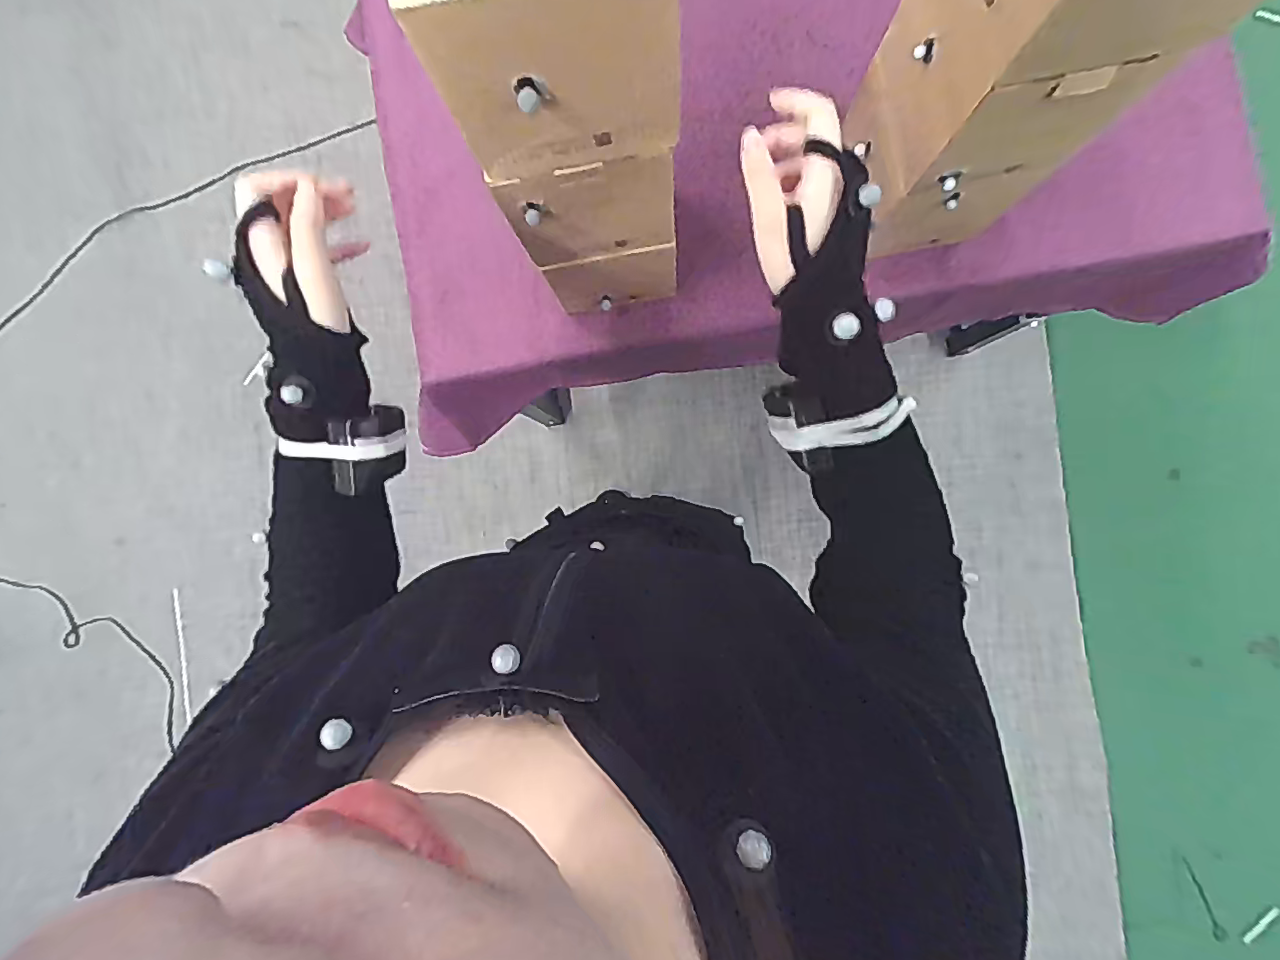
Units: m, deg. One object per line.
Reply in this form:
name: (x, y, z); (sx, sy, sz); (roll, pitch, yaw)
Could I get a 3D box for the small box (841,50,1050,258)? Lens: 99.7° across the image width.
small box: (0.370, -0.415, 0.690); (0.168, 0.176, 0.179); (-9, 88, 5)

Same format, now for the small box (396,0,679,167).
small box: (-0.063, -0.356, 0.388); (0.168, 0.176, 0.179); (-8, 87, 4)

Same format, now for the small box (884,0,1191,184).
small box: (0.362, -0.418, 0.526); (0.168, 0.176, 0.179); (-10, 88, 3)

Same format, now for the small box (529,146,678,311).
small box: (-0.044, -0.345, 0.715); (0.168, 0.176, 0.179); (-8, 89, 4)

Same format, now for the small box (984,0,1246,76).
small box: (0.354, -0.415, 0.361); (0.179, 0.176, 0.168); (-9, 90, 3)
